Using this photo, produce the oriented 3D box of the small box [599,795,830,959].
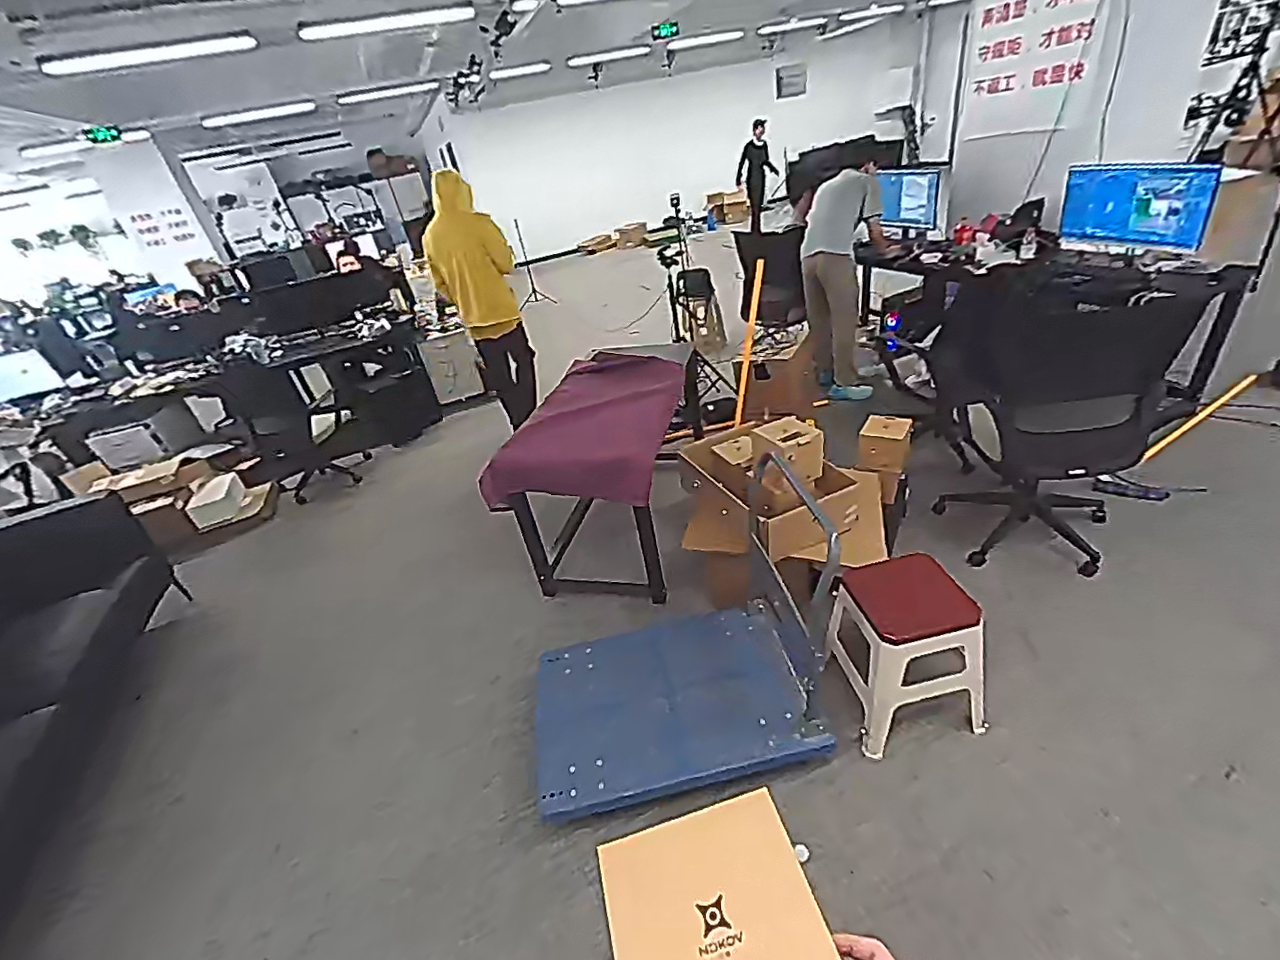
[{"bbox_3d":[0.070,0.425,0.476,0.168,0.176,0.179,-16,35,-5],"label":"small box"}]
